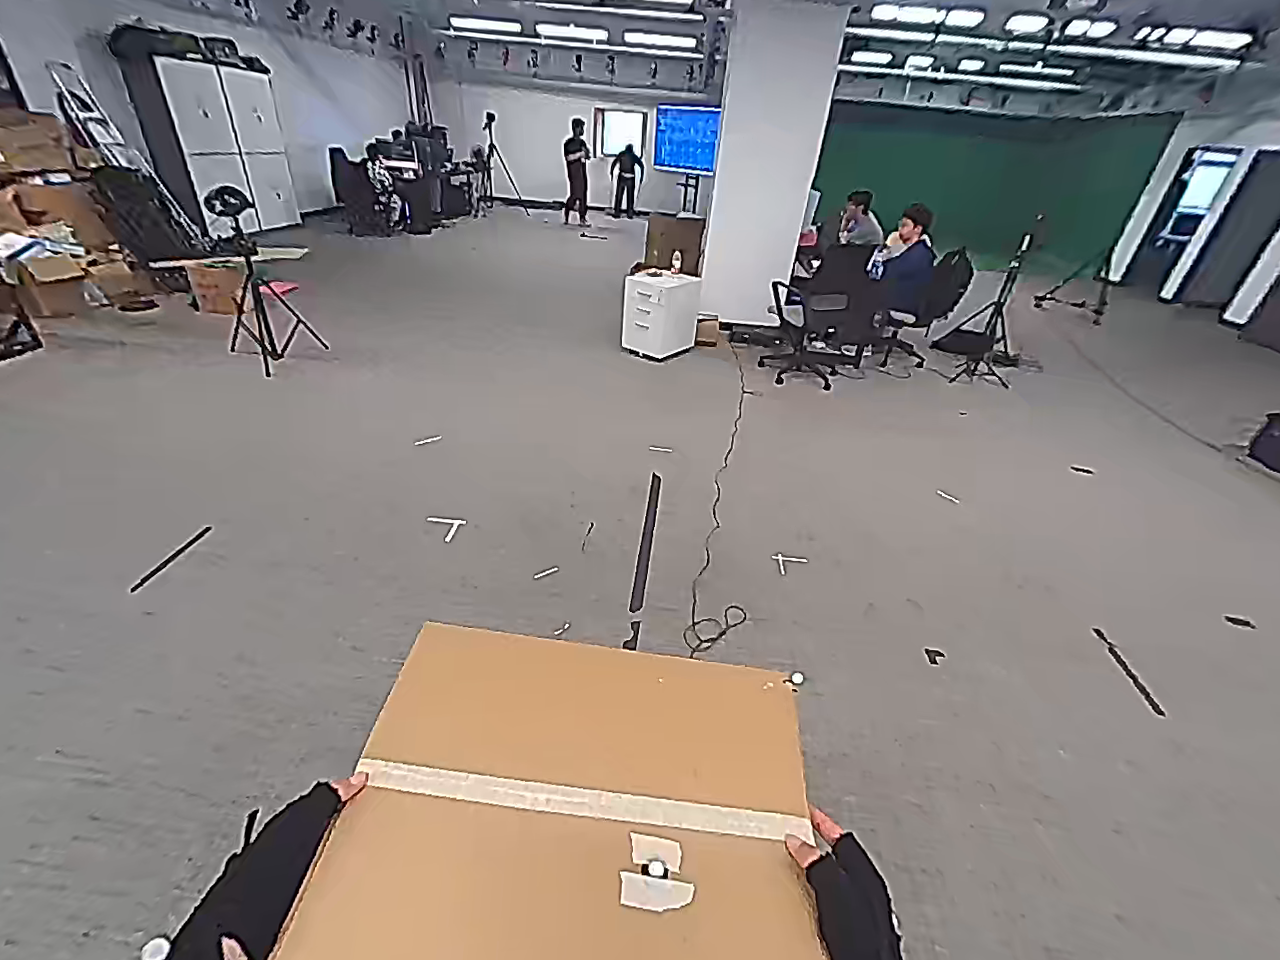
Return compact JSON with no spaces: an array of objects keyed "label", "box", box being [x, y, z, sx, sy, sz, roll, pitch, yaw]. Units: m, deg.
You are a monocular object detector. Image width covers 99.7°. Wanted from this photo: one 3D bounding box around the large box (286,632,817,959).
[{"label":"large box","box":[-0.068,0.404,0.583,0.408,0.320,0.320,9,41,0]}]
